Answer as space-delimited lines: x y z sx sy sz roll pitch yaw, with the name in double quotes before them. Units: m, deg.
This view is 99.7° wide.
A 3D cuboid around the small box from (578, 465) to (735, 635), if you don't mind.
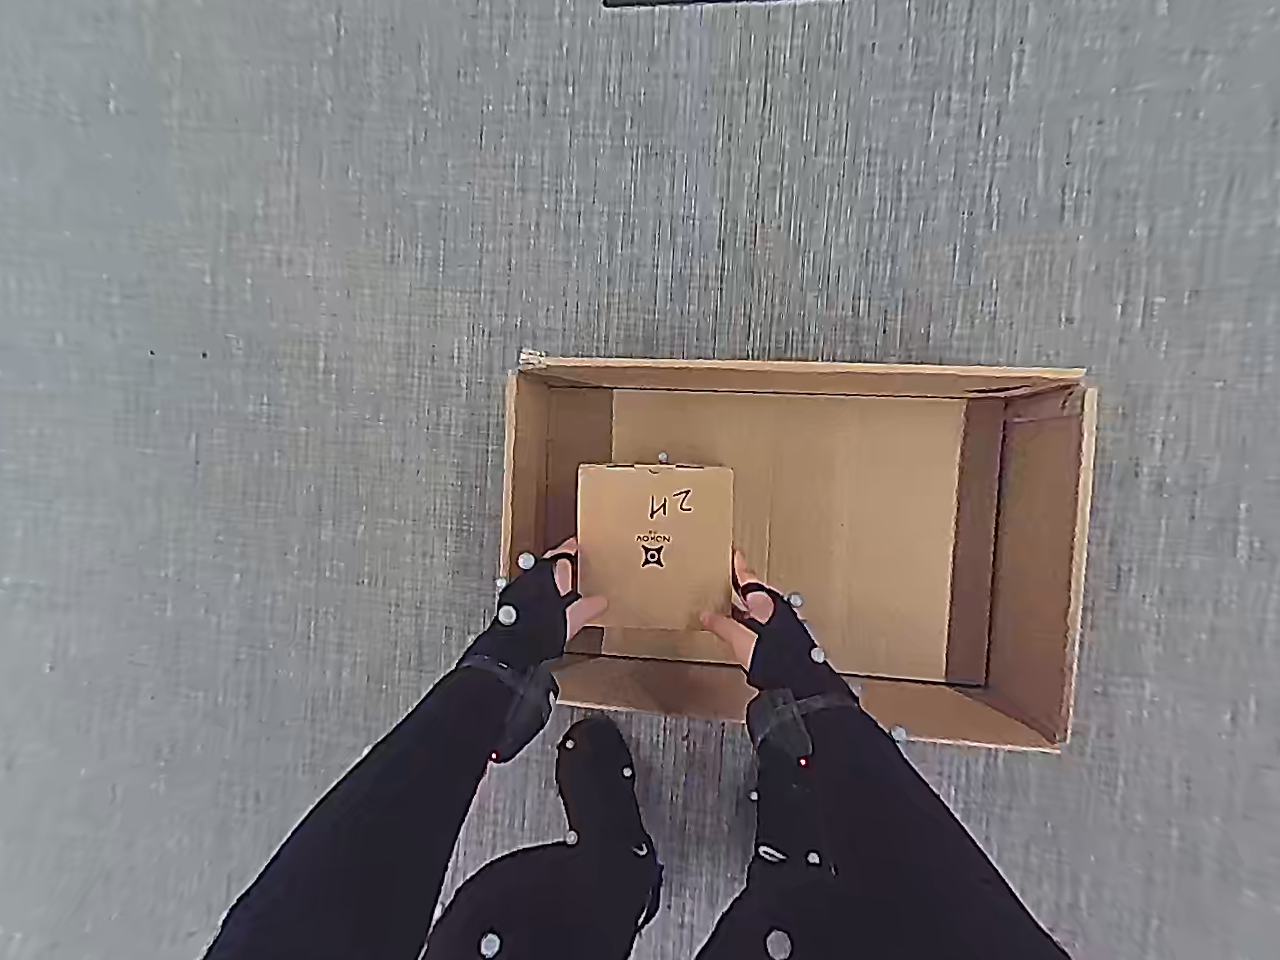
"small box" 0.025 0.072 0.650 0.168 0.176 0.179 1 91 6
